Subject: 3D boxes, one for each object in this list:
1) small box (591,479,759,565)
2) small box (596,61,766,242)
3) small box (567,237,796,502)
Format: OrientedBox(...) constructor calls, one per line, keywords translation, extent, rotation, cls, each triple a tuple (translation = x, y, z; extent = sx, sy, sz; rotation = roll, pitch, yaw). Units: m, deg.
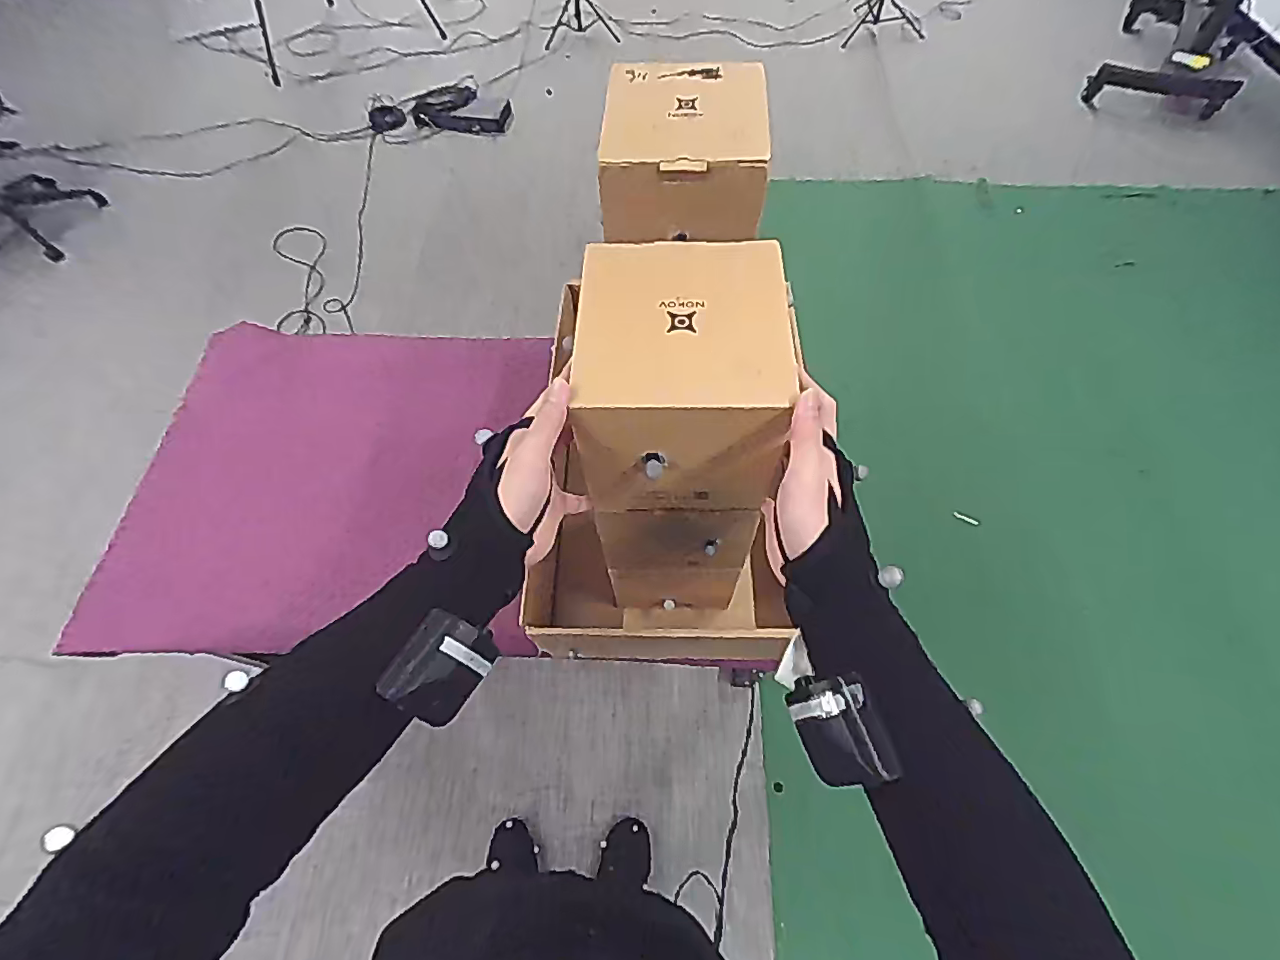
OrientedBox(translation=(0.042, -0.009, 0.629), extent=(0.168, 0.176, 0.179), rotation=(1, 61, 3), cls="small box")
OrientedBox(translation=(0.048, -0.337, 0.619), extent=(0.168, 0.176, 0.179), rotation=(2, 64, 3), cls="small box")
OrientedBox(translation=(0.036, -0.090, 0.489), extent=(0.168, 0.176, 0.179), rotation=(0, 61, 3), cls="small box")
